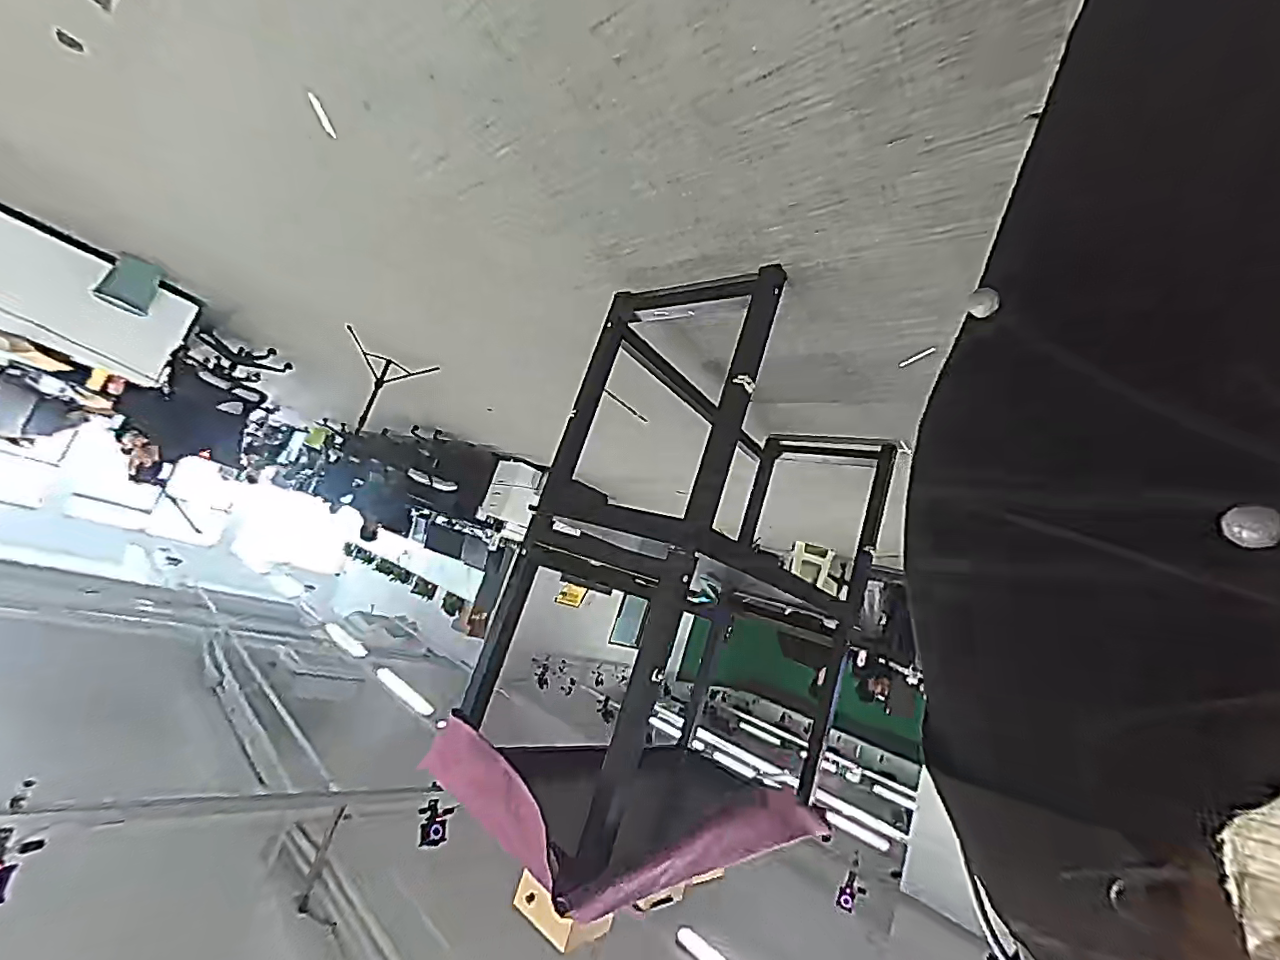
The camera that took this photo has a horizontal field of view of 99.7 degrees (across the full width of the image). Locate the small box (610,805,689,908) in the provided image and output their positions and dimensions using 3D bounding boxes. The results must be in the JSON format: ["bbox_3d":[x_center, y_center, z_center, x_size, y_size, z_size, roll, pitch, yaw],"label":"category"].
[{"bbox_3d":[0.021,1.059,1.537,0.179,0.176,0.168,8,165,47],"label":"small box"}]

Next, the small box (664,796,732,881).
[{"bbox_3d":[0.172,1.148,1.746,0.168,0.176,0.179,8,166,45],"label":"small box"}]

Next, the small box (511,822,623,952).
[{"bbox_3d":[-0.168,0.951,1.286,0.179,0.176,0.168,10,167,38],"label":"small box"}]
